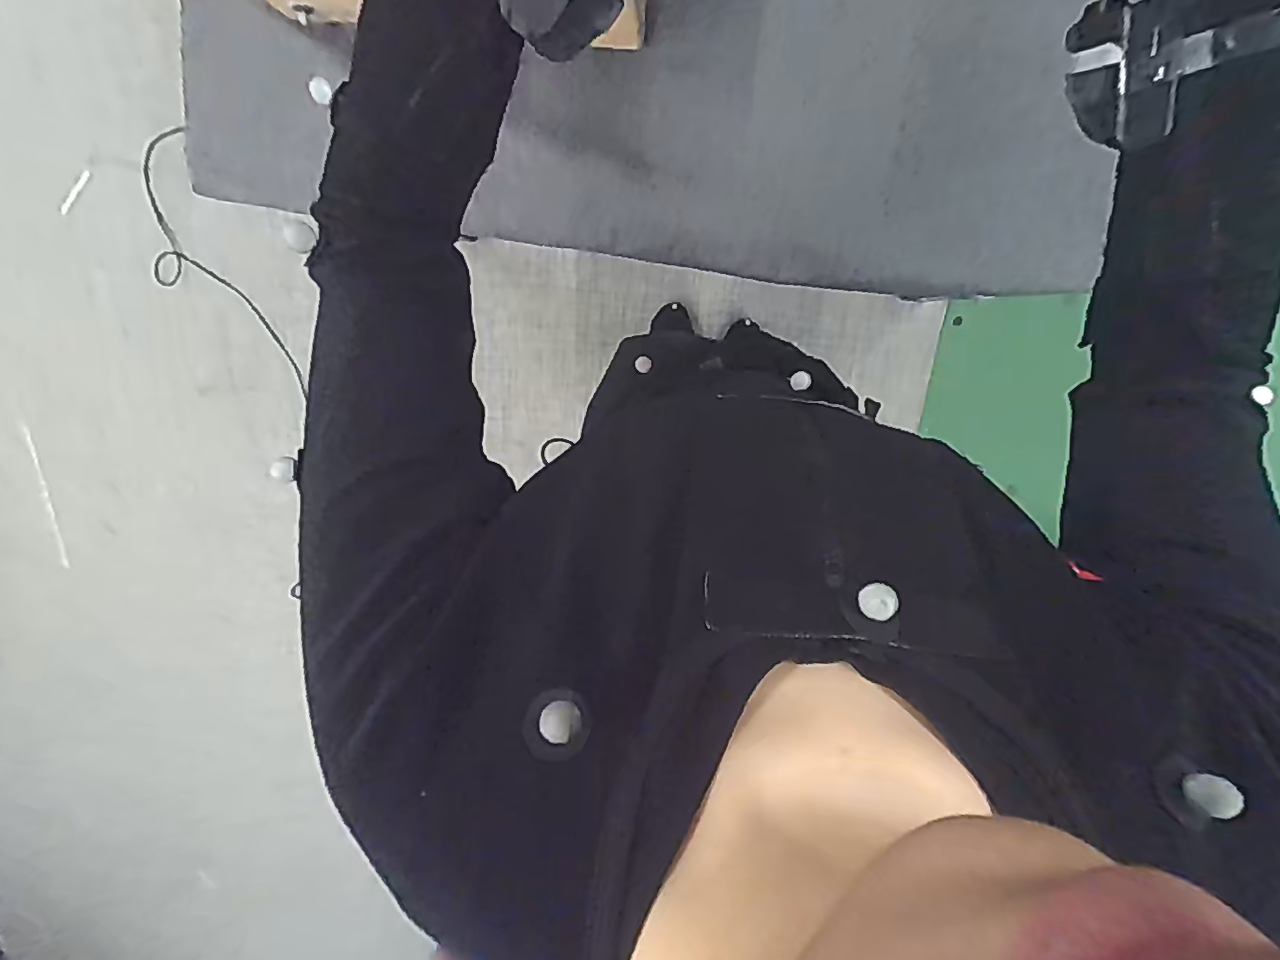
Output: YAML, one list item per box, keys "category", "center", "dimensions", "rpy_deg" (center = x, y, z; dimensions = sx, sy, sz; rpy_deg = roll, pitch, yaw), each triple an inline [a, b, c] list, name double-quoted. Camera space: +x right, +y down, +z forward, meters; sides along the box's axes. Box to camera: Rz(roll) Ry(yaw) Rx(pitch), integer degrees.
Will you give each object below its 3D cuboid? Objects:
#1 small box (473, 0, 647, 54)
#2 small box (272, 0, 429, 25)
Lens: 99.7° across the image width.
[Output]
- category: "small box"
  center: [-0.076, -0.532, 0.497]
  dimensions: [0.168, 0.176, 0.179]
  rpy_deg: [6, 106, 2]
- category: "small box"
  center: [-0.310, -0.564, 0.501]
  dimensions: [0.168, 0.176, 0.179]
  rpy_deg: [3, 106, 3]
